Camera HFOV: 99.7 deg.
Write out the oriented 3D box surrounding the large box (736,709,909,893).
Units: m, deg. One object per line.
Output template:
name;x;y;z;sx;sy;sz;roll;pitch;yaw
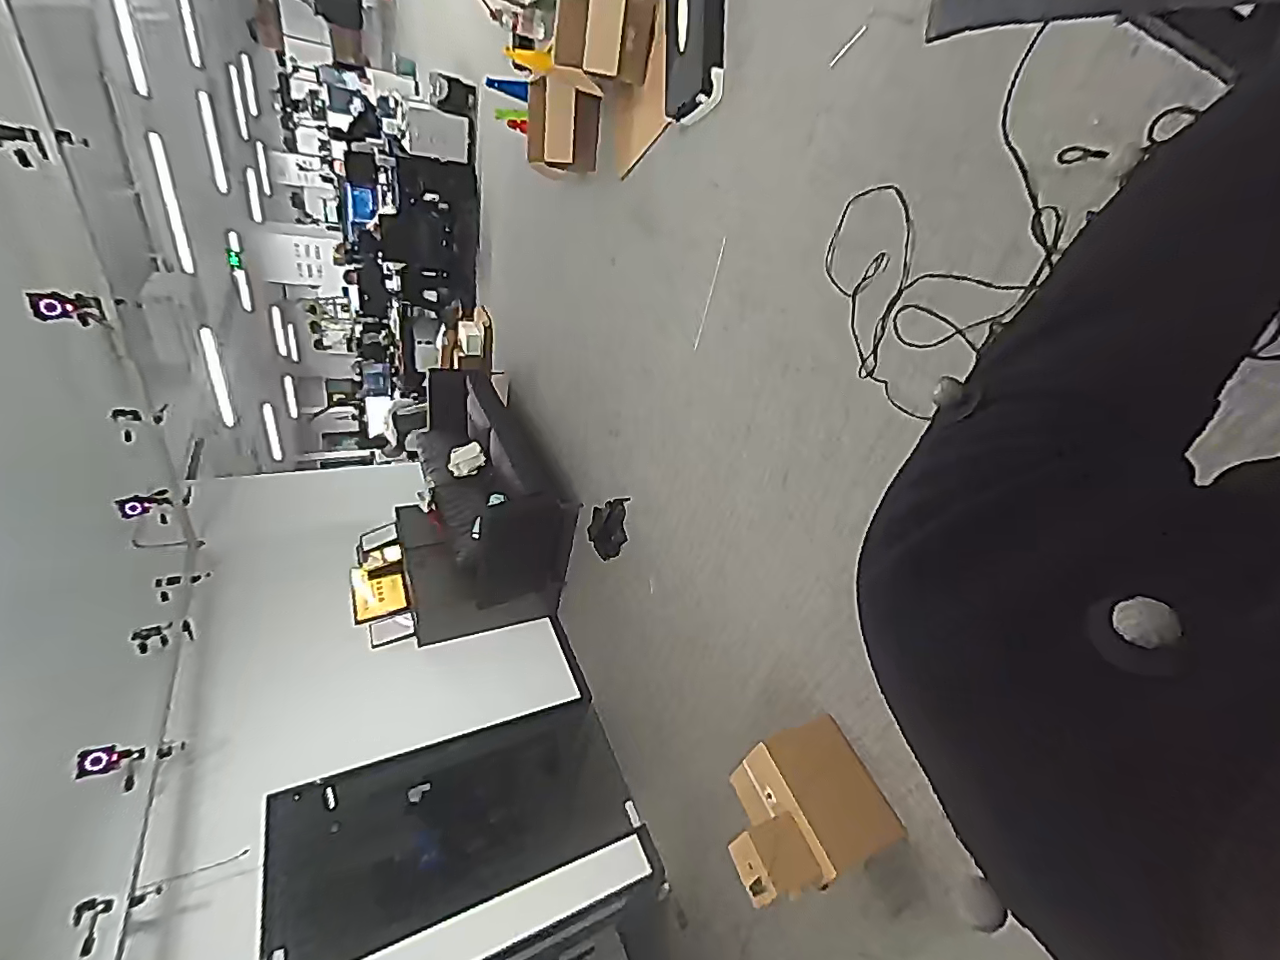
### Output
large box;0.597;1.067;1.826;0.408;0.320;0.320;60;144;39
